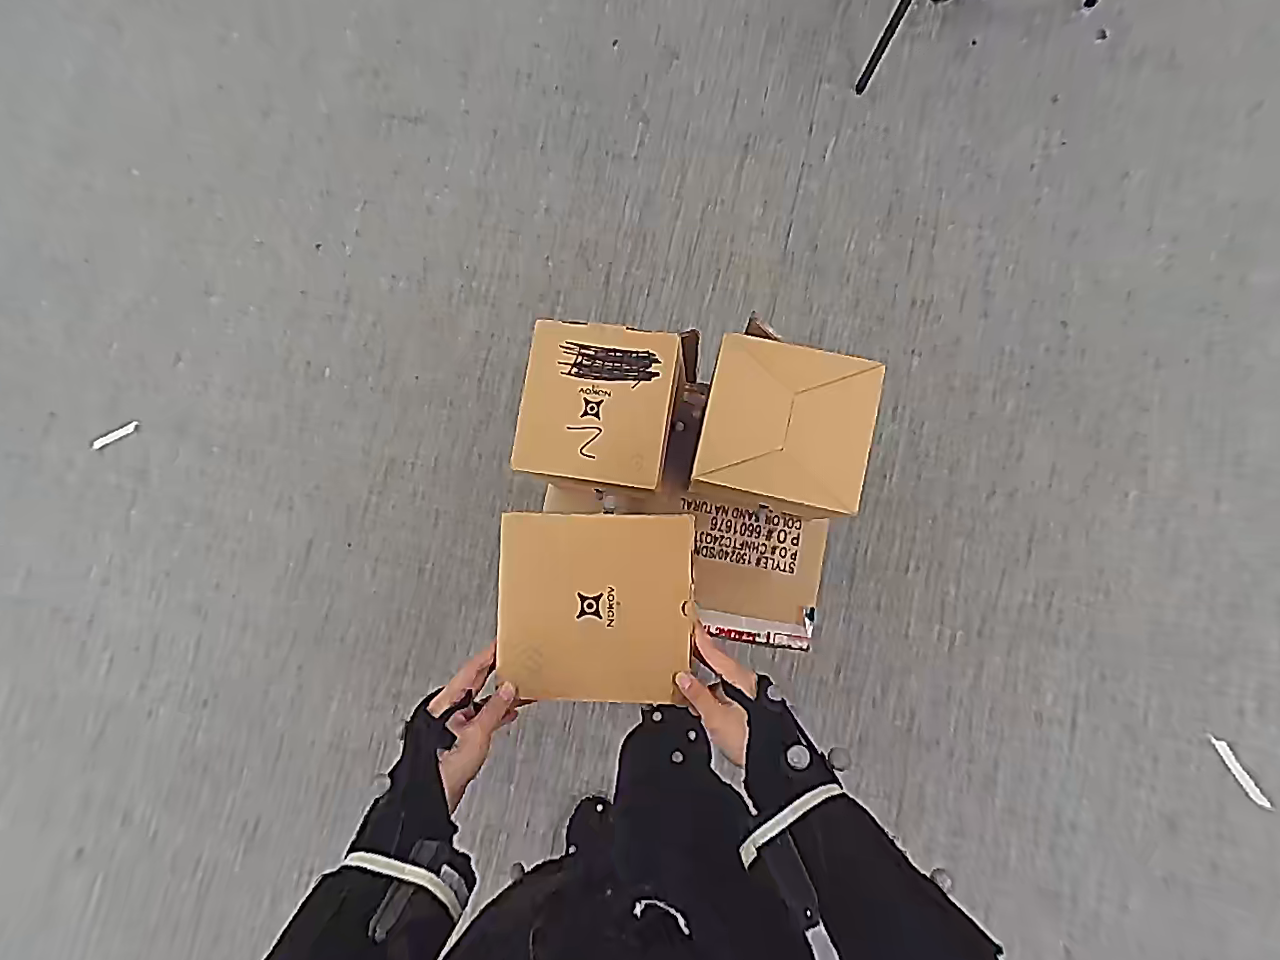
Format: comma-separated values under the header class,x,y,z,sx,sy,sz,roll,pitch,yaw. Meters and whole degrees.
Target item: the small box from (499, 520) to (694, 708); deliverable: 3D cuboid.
class,x,y,z,sx,sy,sz,roll,pitch,yaw
small box,-0.036,0.129,0.571,0.179,0.176,0.168,1,84,1
